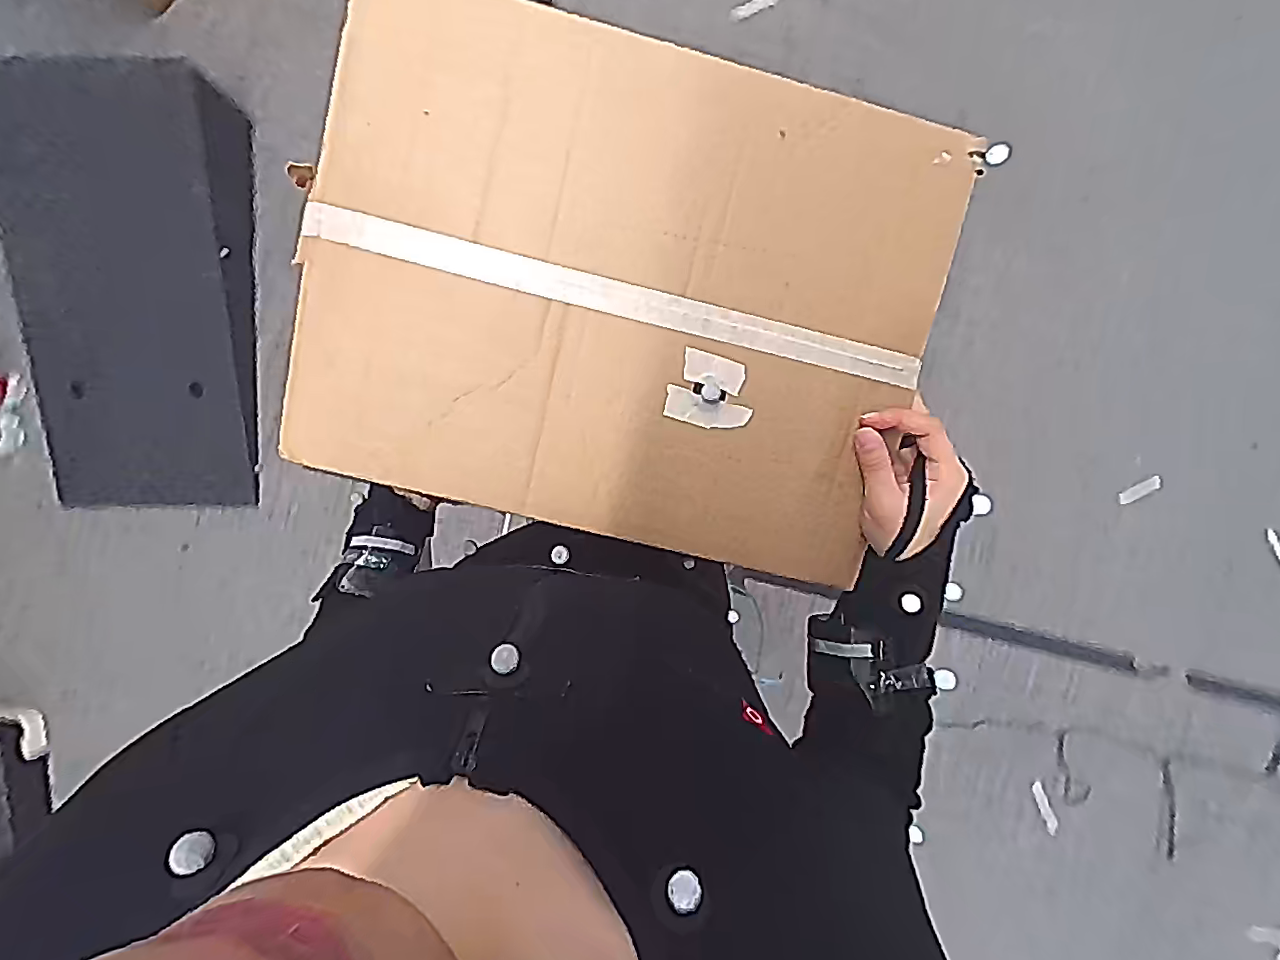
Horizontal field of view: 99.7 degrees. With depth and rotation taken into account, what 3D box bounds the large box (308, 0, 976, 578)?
[{"bbox_3d":[-0.009,-0.136,0.511,0.408,0.320,0.320,14,98,-5],"label":"large box"}]
